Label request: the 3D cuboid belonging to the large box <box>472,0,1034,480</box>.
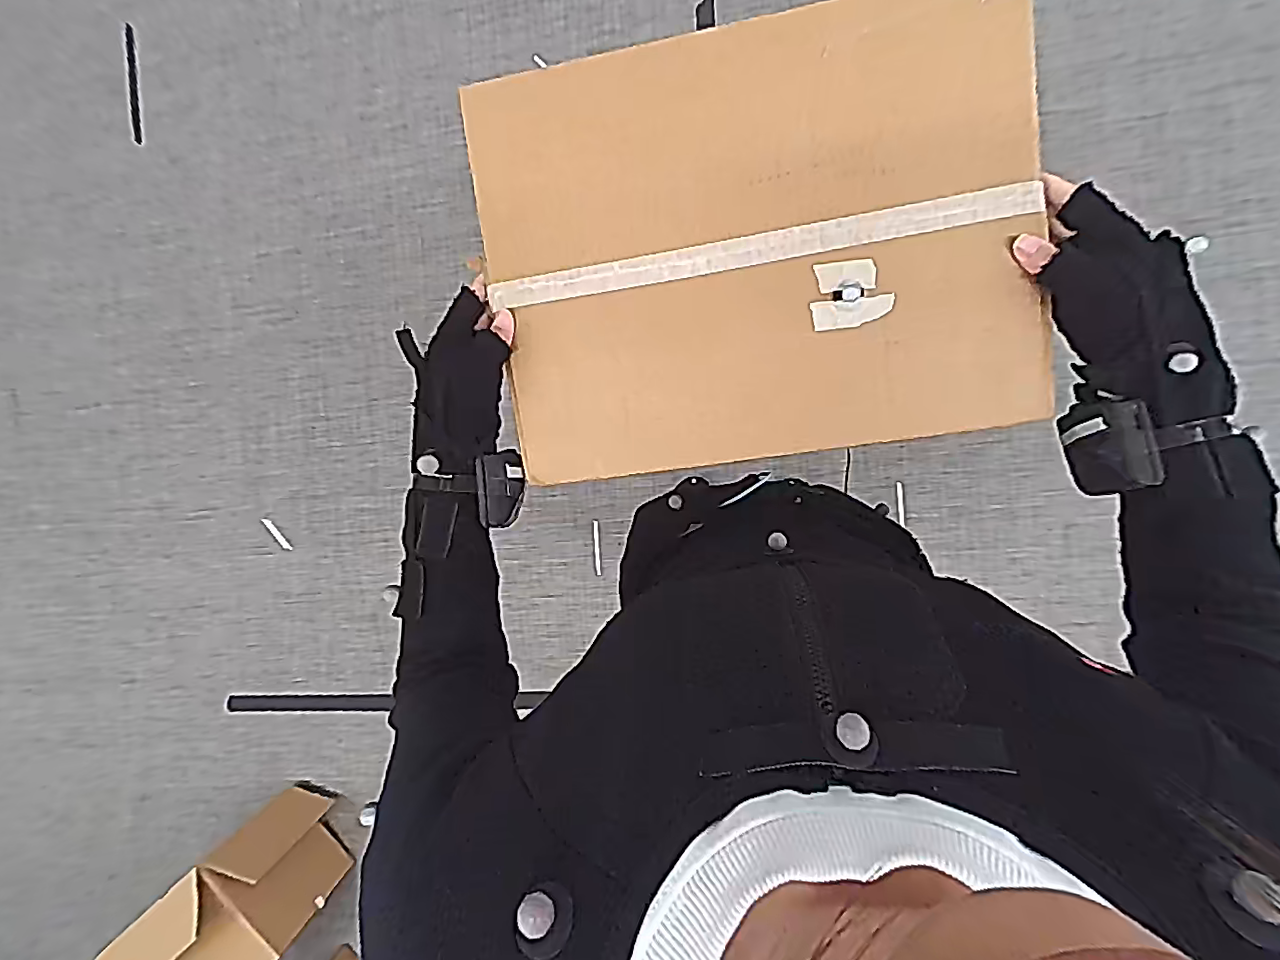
[{"bbox_3d":[0.097,-0.196,0.566,0.408,0.320,0.320,-8,97,7],"label":"large box"}]
